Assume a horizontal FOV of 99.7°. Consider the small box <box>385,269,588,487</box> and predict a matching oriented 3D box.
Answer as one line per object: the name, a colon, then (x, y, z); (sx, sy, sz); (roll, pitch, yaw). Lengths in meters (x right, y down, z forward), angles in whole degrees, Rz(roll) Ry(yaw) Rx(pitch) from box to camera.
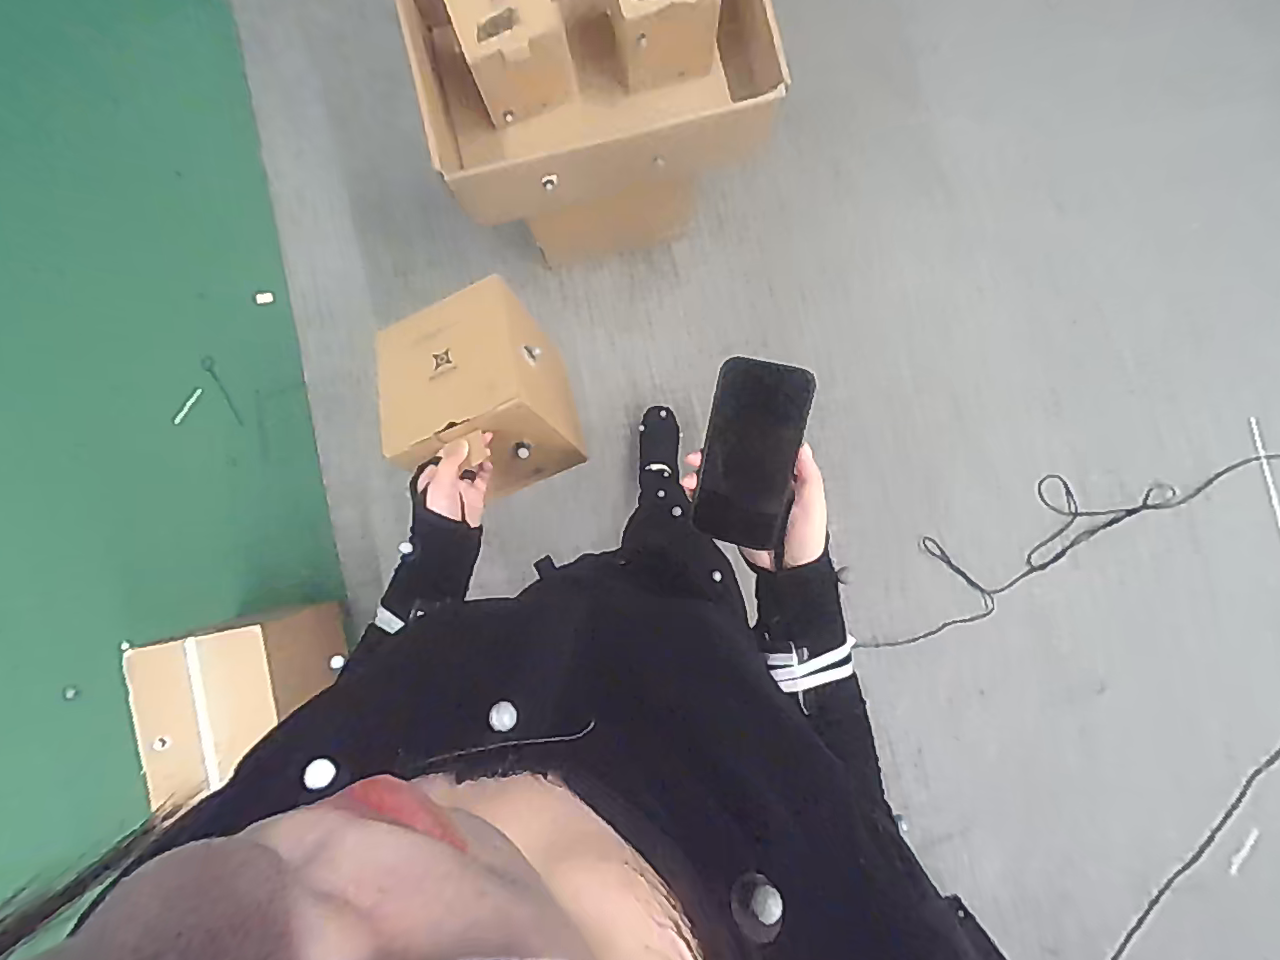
small box: (-0.177, -0.106, 0.650); (0.168, 0.176, 0.179); (-21, 64, 12)
